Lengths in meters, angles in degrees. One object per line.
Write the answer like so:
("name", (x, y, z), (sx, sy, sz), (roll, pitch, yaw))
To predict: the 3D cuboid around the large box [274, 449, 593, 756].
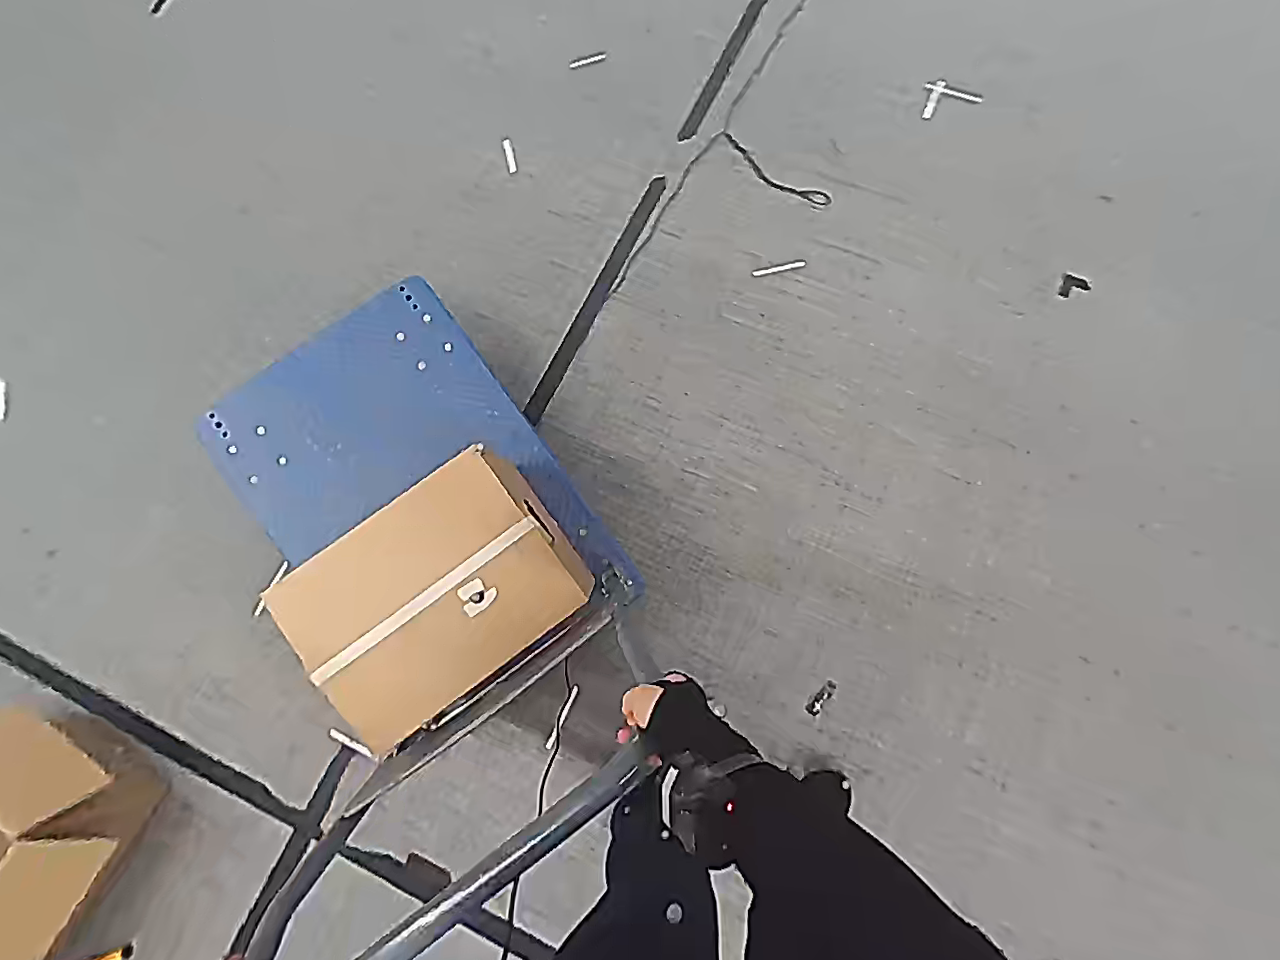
("large box", (-0.337, 0.202, 1.002), (0.408, 0.320, 0.320), (-37, 89, -6))
